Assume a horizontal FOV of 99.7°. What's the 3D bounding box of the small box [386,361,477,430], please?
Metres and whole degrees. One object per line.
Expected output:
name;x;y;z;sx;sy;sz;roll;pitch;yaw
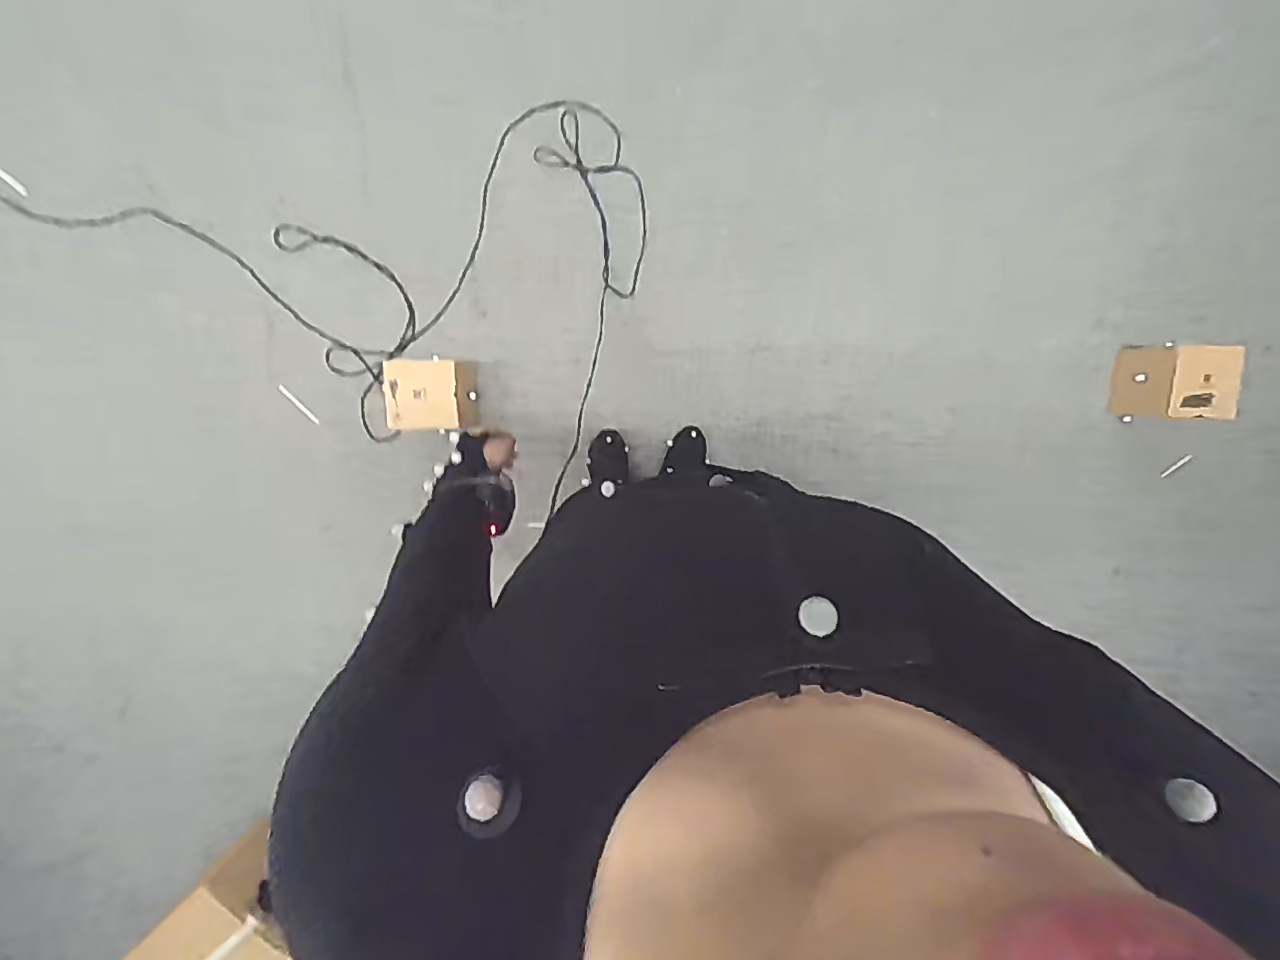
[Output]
small box;-0.518;-0.214;1.371;0.179;0.176;0.168;-1;98;-1

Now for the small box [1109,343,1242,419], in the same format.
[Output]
small box;1.358;-0.250;1.385;0.168;0.176;0.179;3;98;-1
